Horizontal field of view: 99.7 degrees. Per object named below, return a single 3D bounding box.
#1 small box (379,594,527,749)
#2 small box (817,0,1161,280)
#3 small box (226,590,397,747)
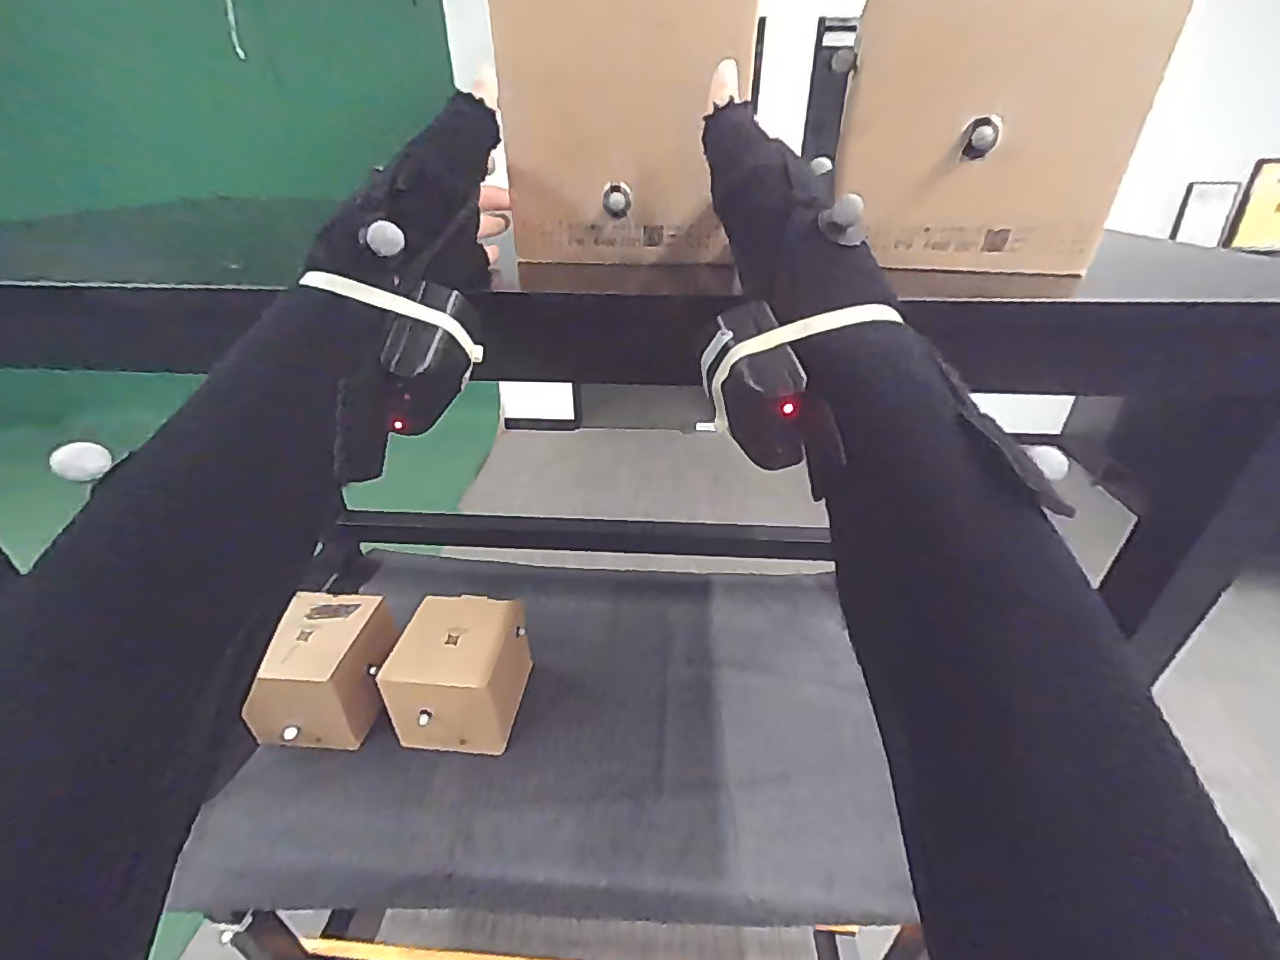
[{"bbox_3d":[-0.290,0.313,0.887,0.168,0.176,0.179,3,31,4],"label":"small box"},{"bbox_3d":[0.237,-0.259,0.420,0.168,0.176,0.179,8,32,13],"label":"small box"},{"bbox_3d":[-0.518,0.306,0.890,0.168,0.176,0.179,2,32,3],"label":"small box"}]
